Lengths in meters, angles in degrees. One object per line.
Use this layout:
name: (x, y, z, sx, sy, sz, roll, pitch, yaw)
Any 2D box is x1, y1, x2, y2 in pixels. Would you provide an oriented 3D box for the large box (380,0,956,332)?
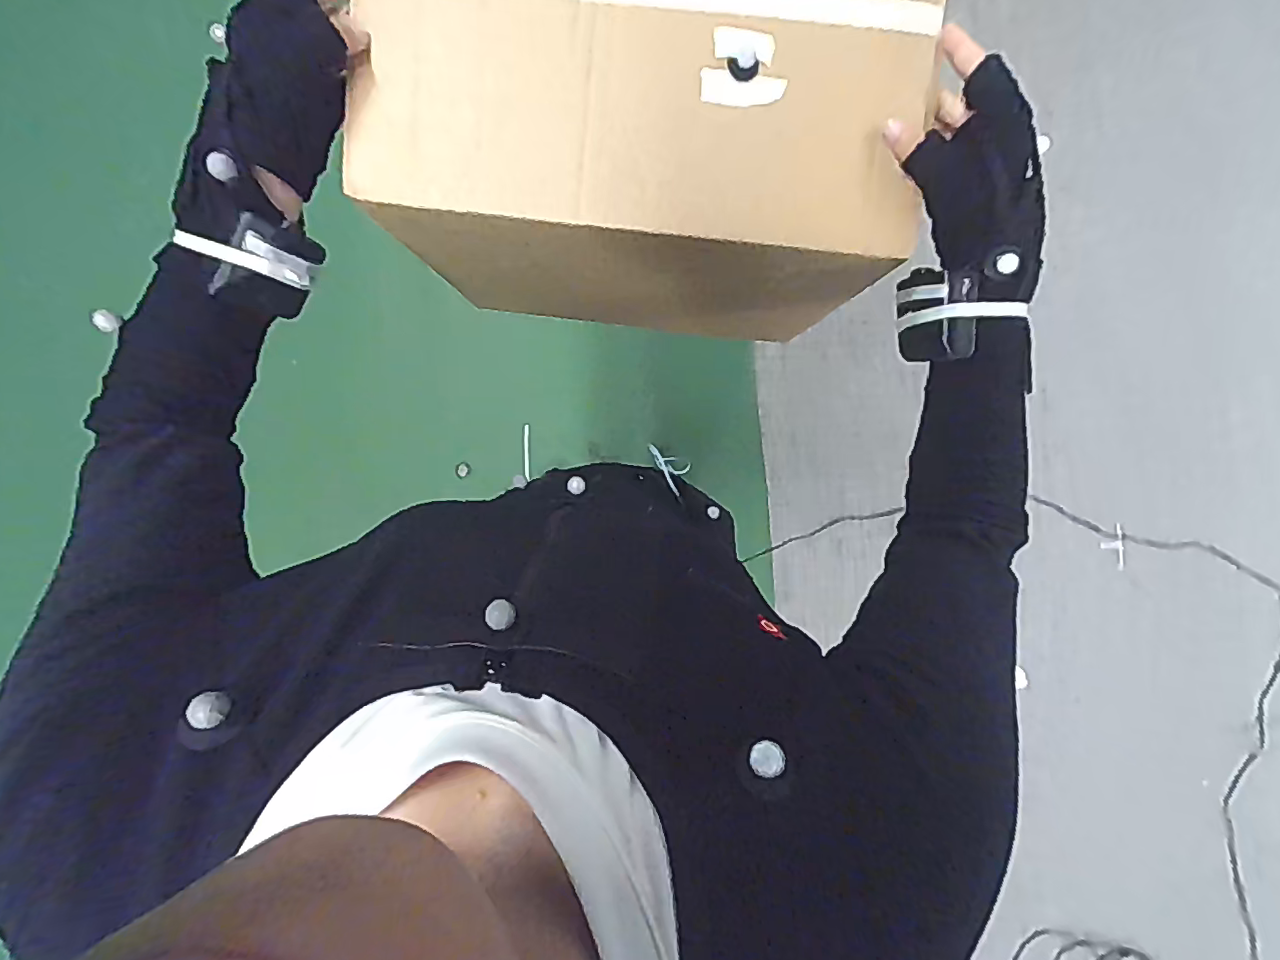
large box: (0.019, -0.348, 0.529, 0.408, 0.320, 0.320, 6, 94, -3)
